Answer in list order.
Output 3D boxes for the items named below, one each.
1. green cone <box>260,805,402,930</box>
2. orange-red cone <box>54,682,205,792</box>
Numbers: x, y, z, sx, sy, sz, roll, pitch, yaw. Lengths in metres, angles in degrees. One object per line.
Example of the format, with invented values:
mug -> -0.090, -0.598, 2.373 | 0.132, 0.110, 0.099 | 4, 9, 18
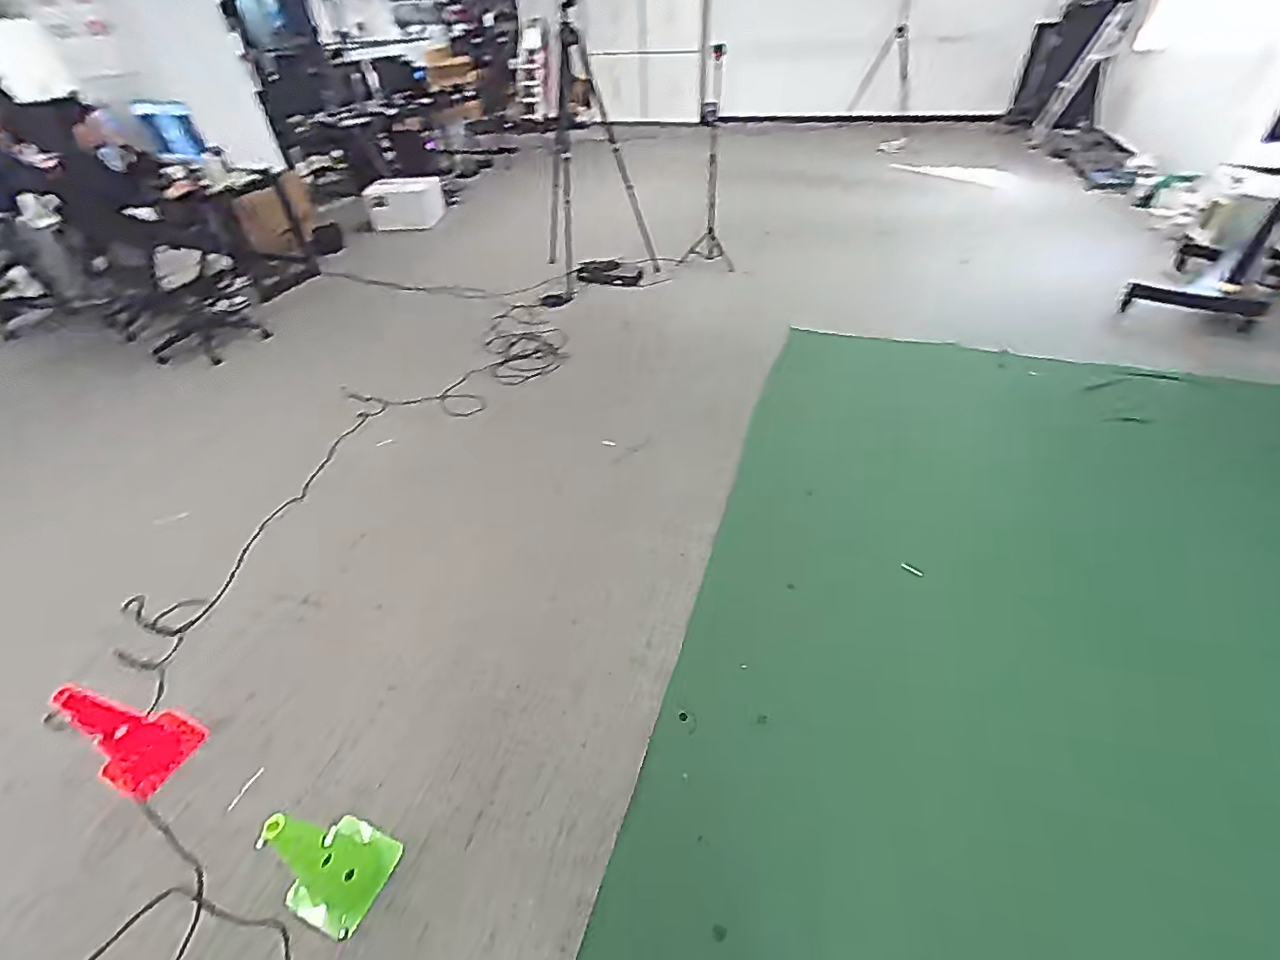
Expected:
green cone -> -0.714, 0.797, 1.186 | 0.202, 0.368, 0.200 | 12, 44, 19
orange-red cone -> -1.386, 0.632, 1.424 | 0.199, 0.360, 0.198 | 16, 46, 19
